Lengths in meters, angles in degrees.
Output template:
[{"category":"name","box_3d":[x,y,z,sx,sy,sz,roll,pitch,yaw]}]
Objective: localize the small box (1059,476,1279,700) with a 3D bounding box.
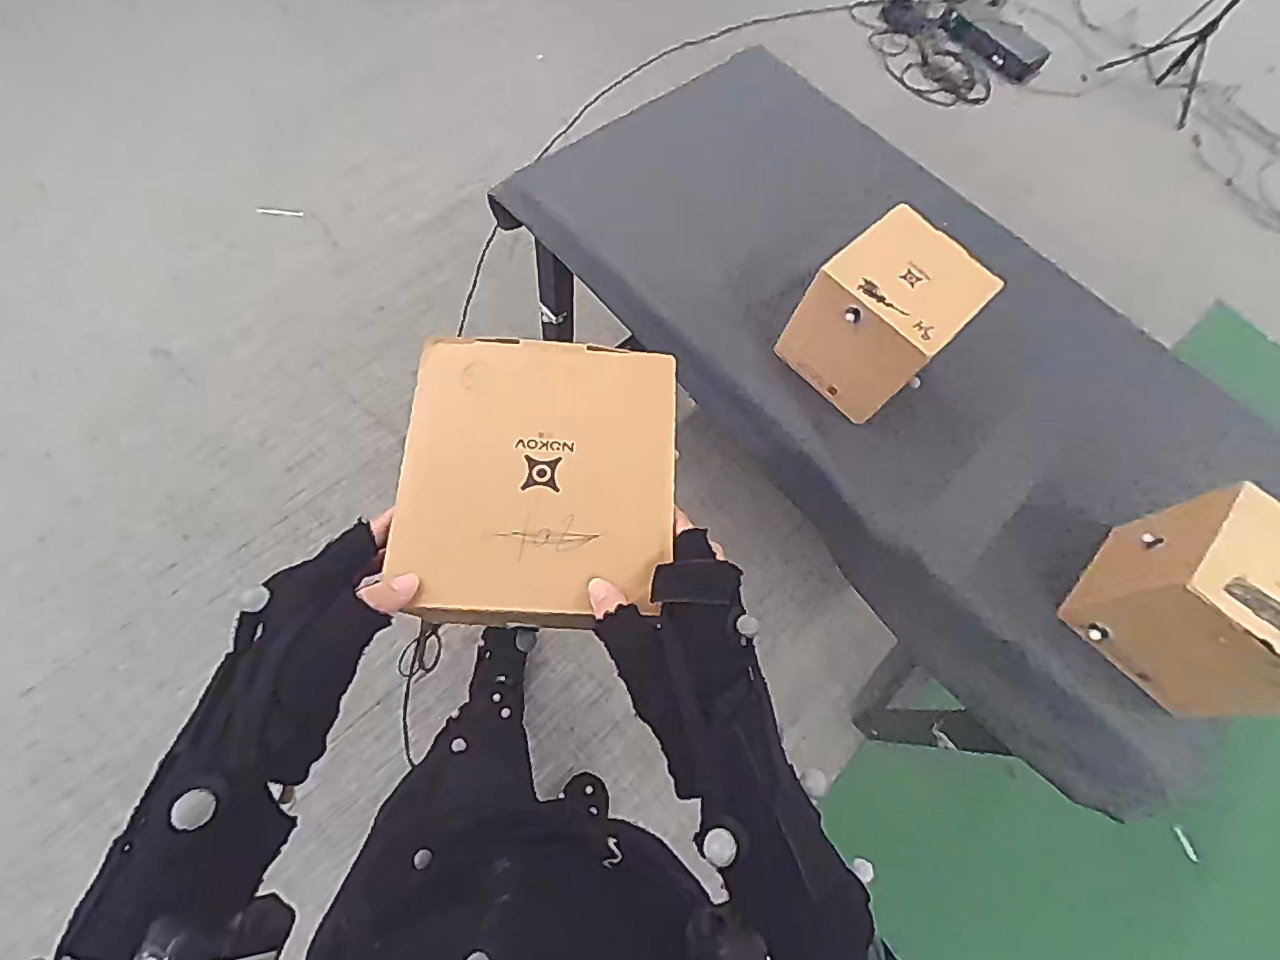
[{"category":"small box","box_3d":[0.642,0.134,0.625,0.179,0.176,0.168,-40,76,-21]}]

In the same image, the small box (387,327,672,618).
[{"category":"small box","box_3d":[-0.070,0.009,0.414,0.168,0.176,0.179,3,73,-5]}]

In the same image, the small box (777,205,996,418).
[{"category":"small box","box_3d":[0.316,-0.219,0.727,0.179,0.176,0.168,-40,78,-20]}]
